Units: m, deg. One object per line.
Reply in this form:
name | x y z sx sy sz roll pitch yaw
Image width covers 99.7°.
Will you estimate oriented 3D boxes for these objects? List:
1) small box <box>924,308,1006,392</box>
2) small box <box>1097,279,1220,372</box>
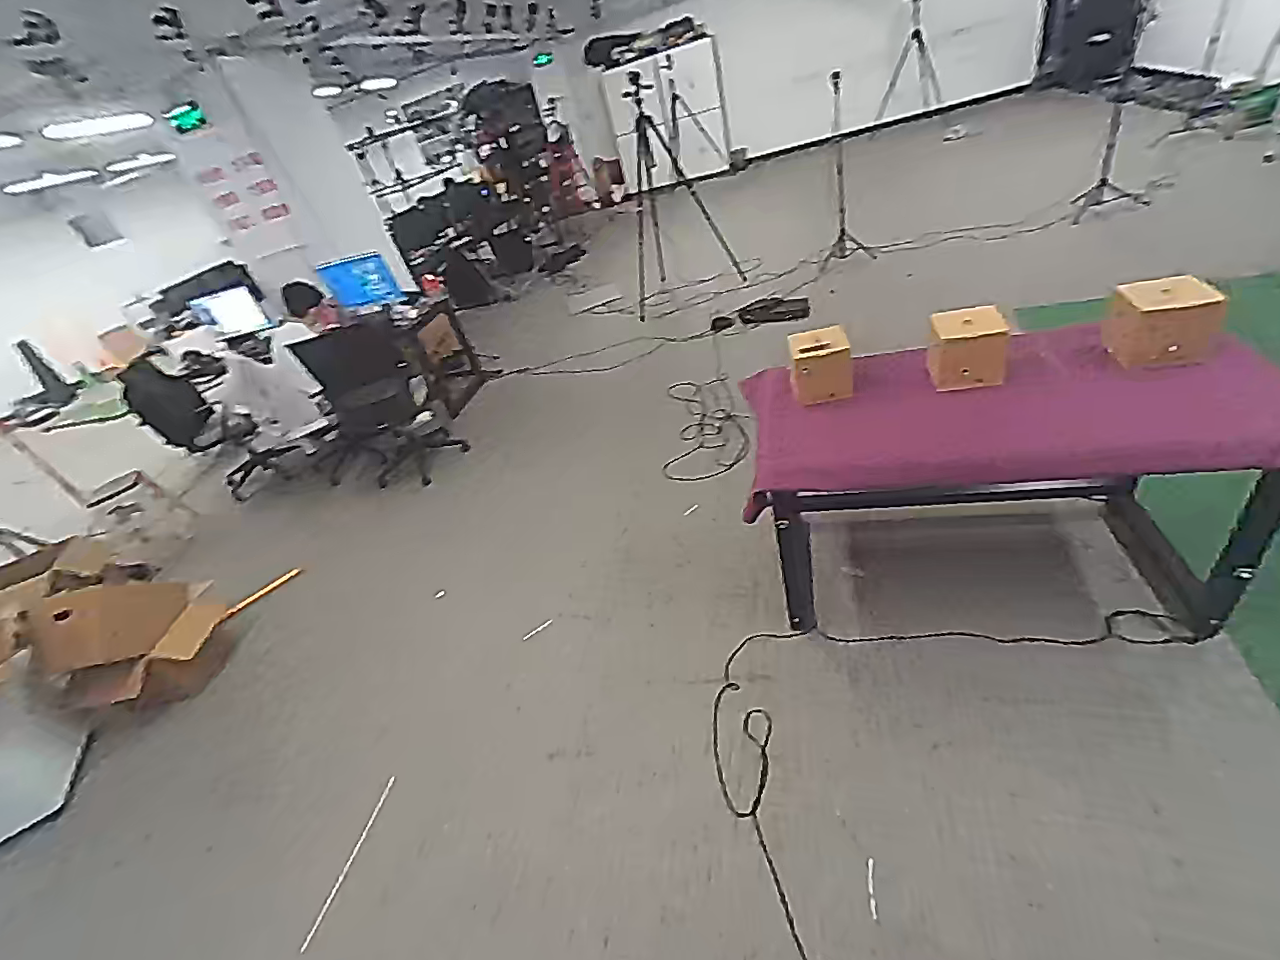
small box | 0.932 -0.375 1.567 0.168 0.176 0.179 -4 39 18
small box | 1.347 -0.405 1.422 0.168 0.176 0.179 -4 38 20
